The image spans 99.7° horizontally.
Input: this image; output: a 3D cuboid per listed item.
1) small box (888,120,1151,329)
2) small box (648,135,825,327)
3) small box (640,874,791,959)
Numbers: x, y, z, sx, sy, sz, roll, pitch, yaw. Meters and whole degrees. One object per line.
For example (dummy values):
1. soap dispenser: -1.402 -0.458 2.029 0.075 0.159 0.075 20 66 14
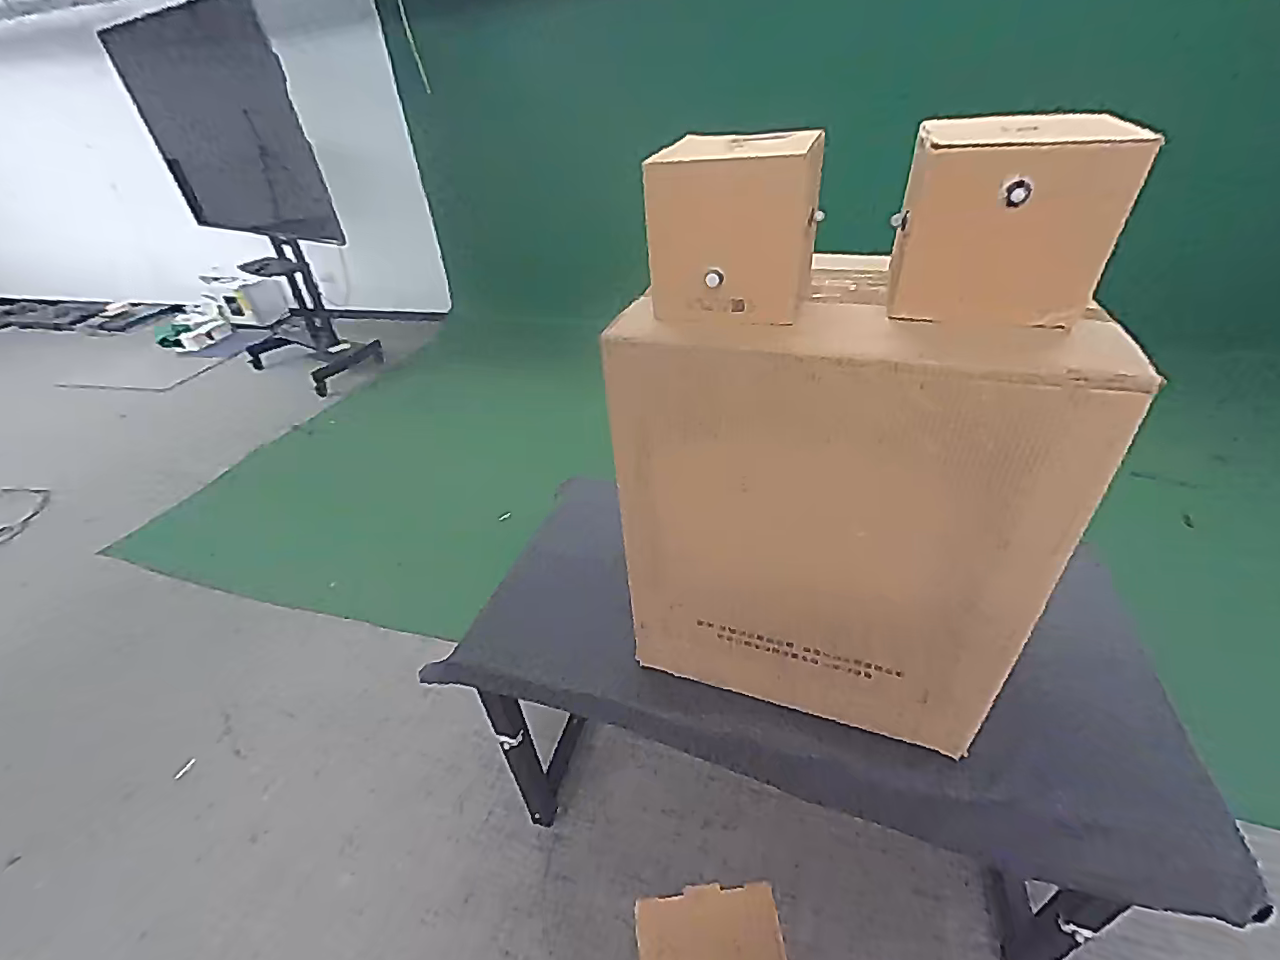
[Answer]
1. small box: 0.374 -0.275 0.579 0.179 0.176 0.168 11 41 16
2. small box: 0.117 -0.297 0.642 0.168 0.176 0.179 9 40 19
3. small box: 0.093 0.596 0.630 0.168 0.176 0.179 -9 39 2
